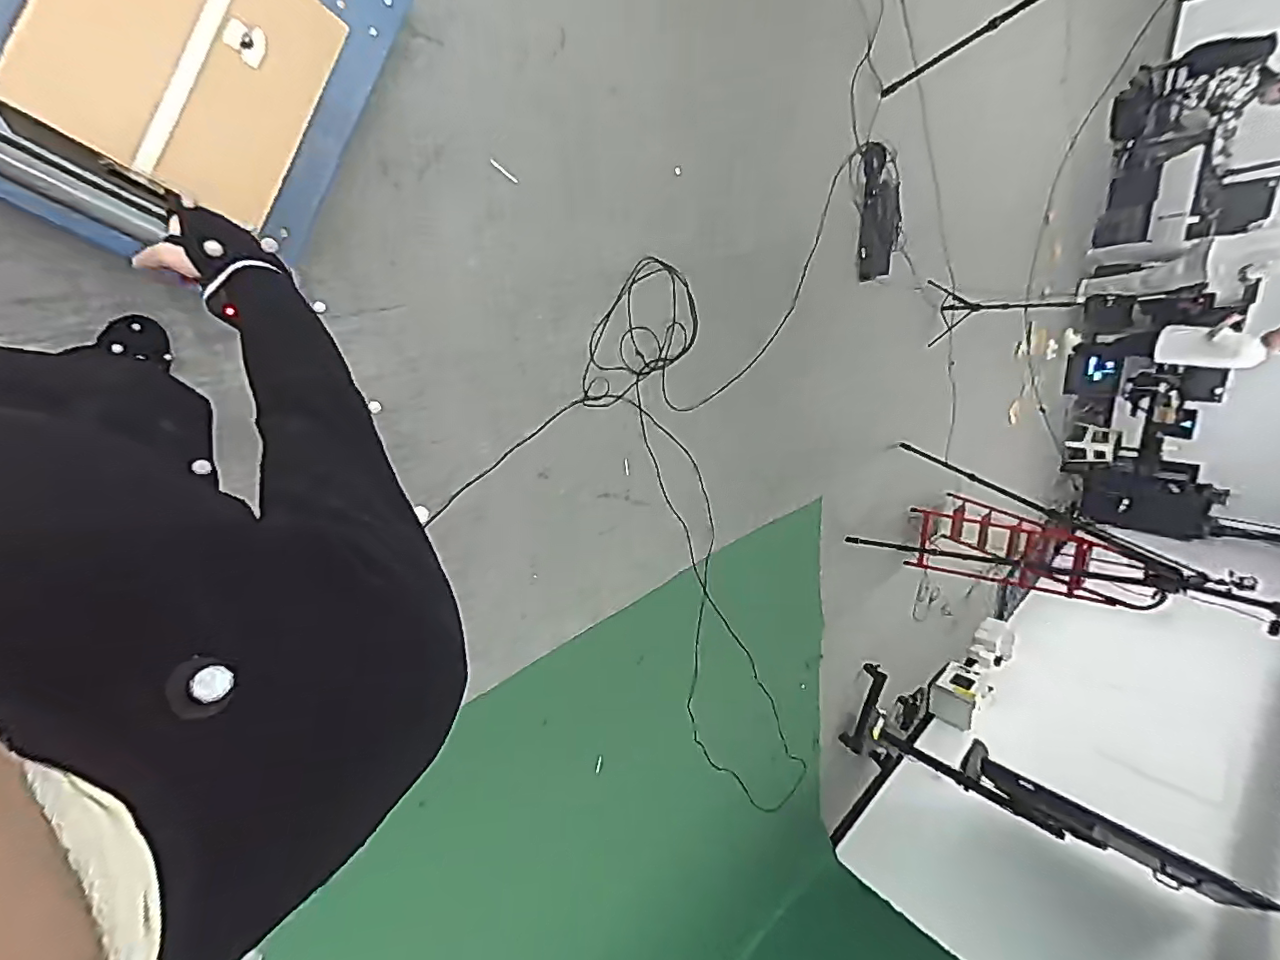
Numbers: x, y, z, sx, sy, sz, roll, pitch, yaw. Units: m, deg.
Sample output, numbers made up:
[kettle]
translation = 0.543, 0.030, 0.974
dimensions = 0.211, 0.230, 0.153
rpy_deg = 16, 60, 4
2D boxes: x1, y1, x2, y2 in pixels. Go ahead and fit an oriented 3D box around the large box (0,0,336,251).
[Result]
[large box]
translation = -0.793, -0.678, 0.939
dimensions = 0.320, 0.320, 0.408
rpy_deg = 24, 84, -43
